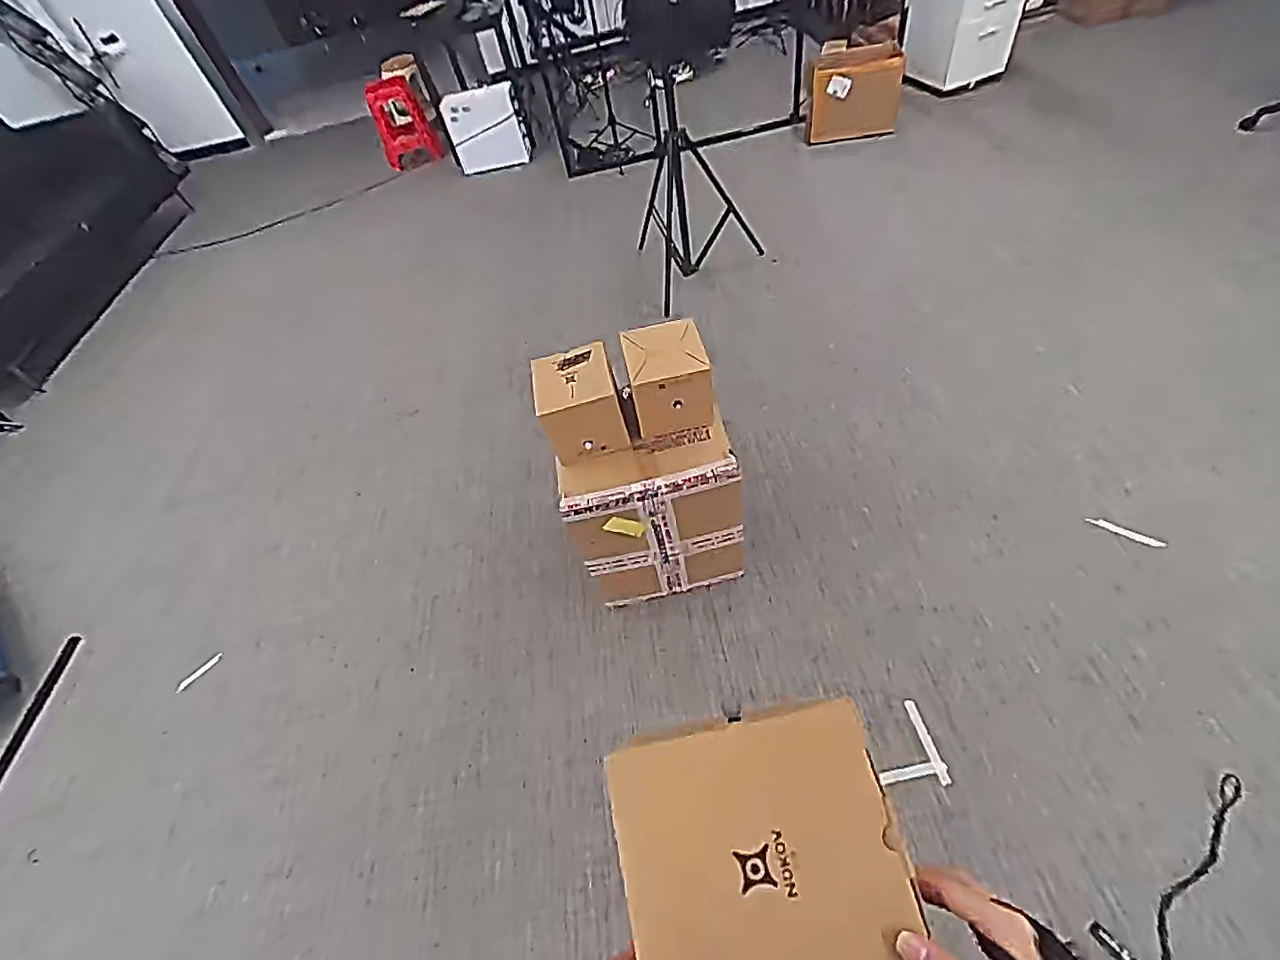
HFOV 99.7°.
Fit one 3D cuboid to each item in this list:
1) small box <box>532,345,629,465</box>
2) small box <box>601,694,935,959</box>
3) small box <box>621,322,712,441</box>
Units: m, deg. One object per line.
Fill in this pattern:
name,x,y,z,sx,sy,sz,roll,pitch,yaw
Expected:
small box,-0.131,-0.162,1.194,0.168,0.176,0.179,-15,52,3
small box,0.080,0.268,0.410,0.179,0.176,0.168,-13,67,-1
small box,0.057,-0.219,1.194,0.168,0.176,0.179,-12,52,-1
